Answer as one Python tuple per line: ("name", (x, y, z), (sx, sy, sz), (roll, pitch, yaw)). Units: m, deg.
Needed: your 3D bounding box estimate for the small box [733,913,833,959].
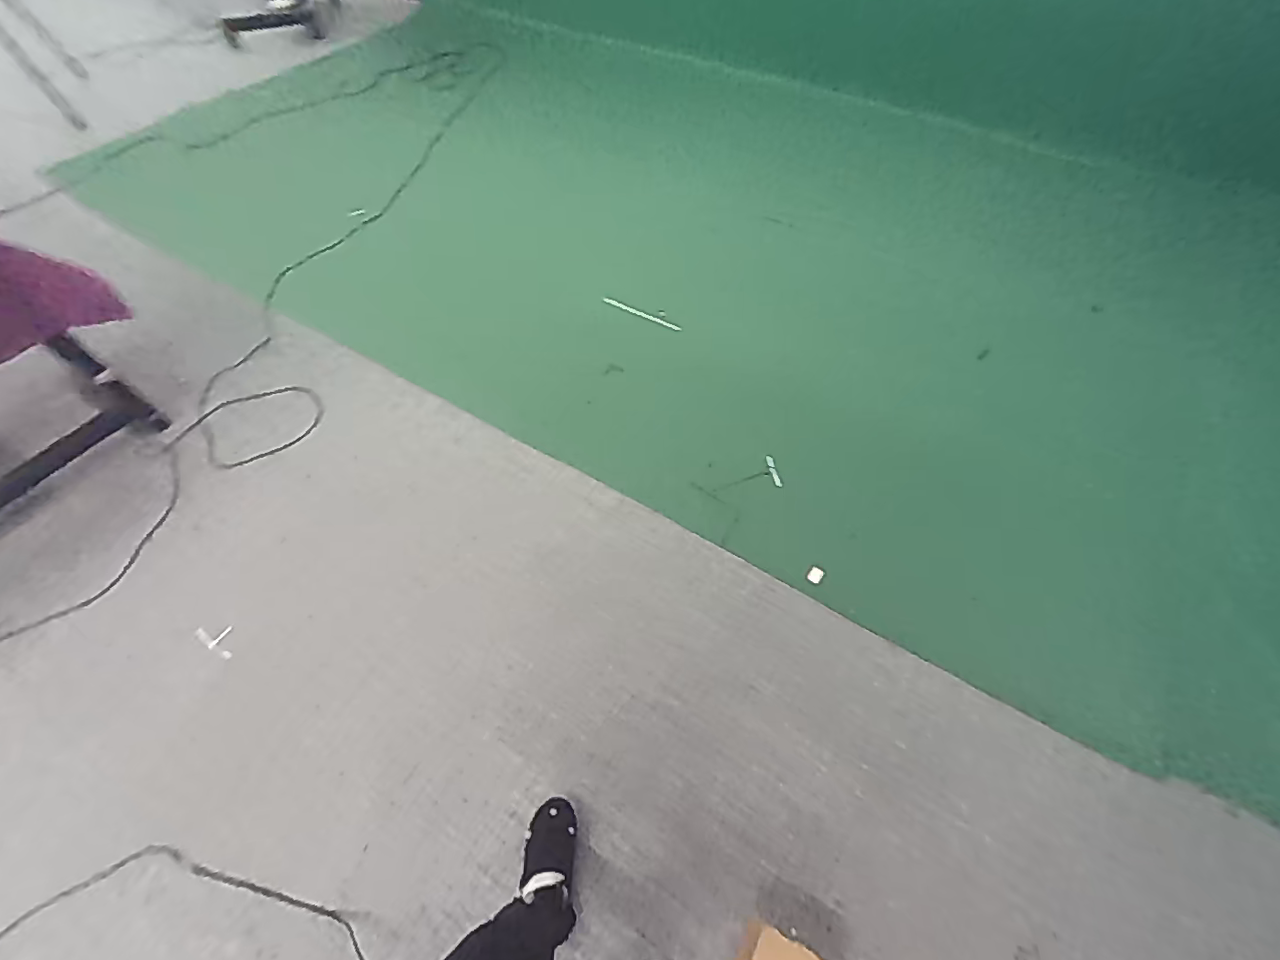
("small box", (0.265, 0.968, 1.027), (0.168, 0.176, 0.179), (24, 56, 16))
